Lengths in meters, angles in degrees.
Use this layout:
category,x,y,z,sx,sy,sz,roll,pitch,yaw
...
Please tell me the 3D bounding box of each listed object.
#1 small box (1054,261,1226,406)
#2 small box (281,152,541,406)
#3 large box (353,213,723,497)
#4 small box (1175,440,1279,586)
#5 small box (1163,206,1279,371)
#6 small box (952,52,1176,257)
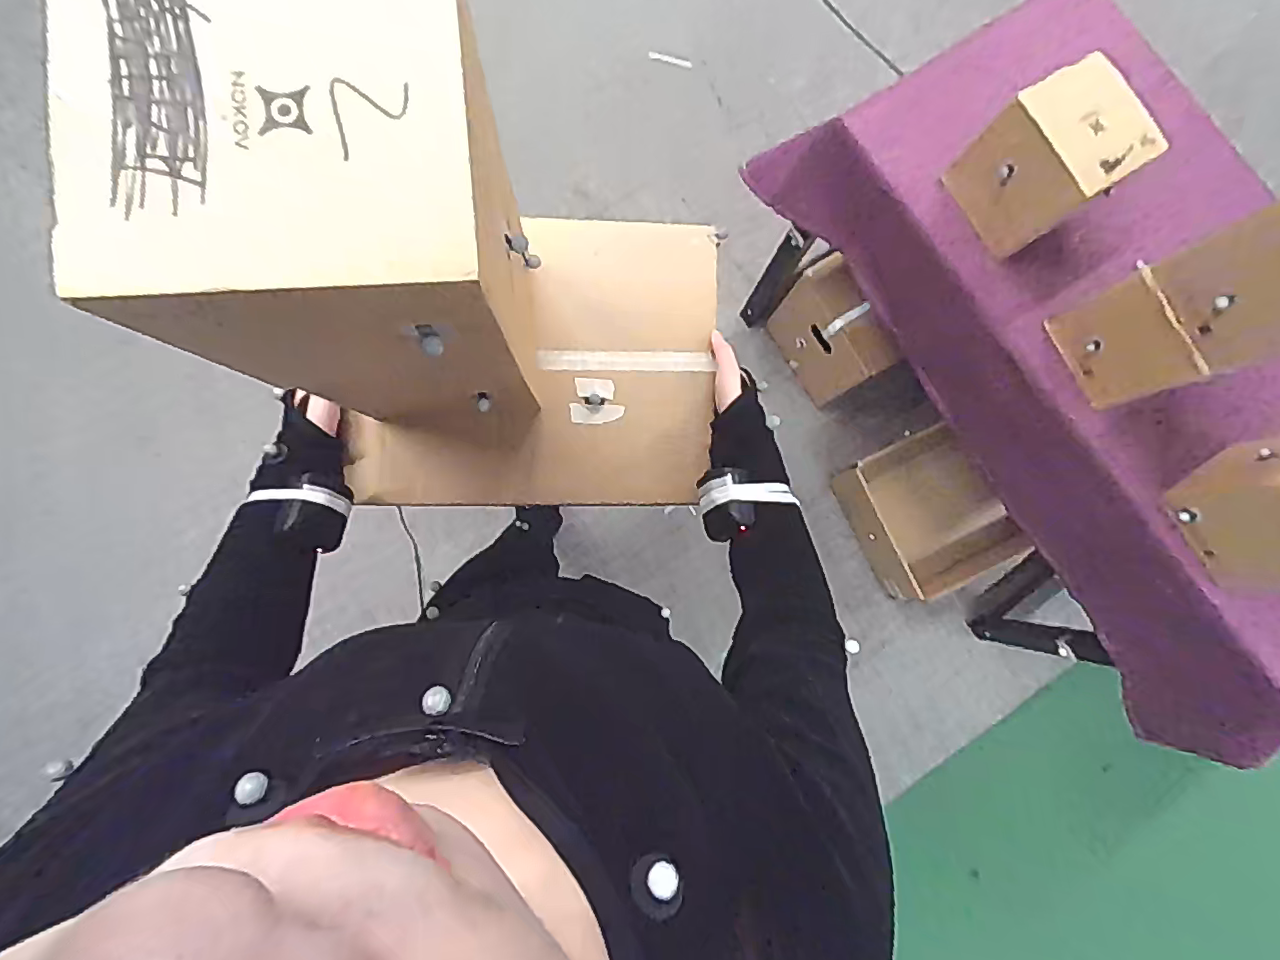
category,x,y,z,sx,sy,sz,roll,pitch,yaw
small box,0.786,-0.232,0.808,0.179,0.176,0.168,-26,85,-7
small box,-0.184,-0.163,0.488,0.179,0.176,0.168,-3,88,-4
large box,-0.121,-0.136,0.738,0.408,0.320,0.320,0,89,-5
small box,0.945,0.046,0.782,0.179,0.176,0.168,-31,86,-9
small box,0.806,-0.255,0.646,0.179,0.176,0.168,-25,85,-7
small box,0.627,-0.483,0.826,0.168,0.176,0.179,-31,85,-7
